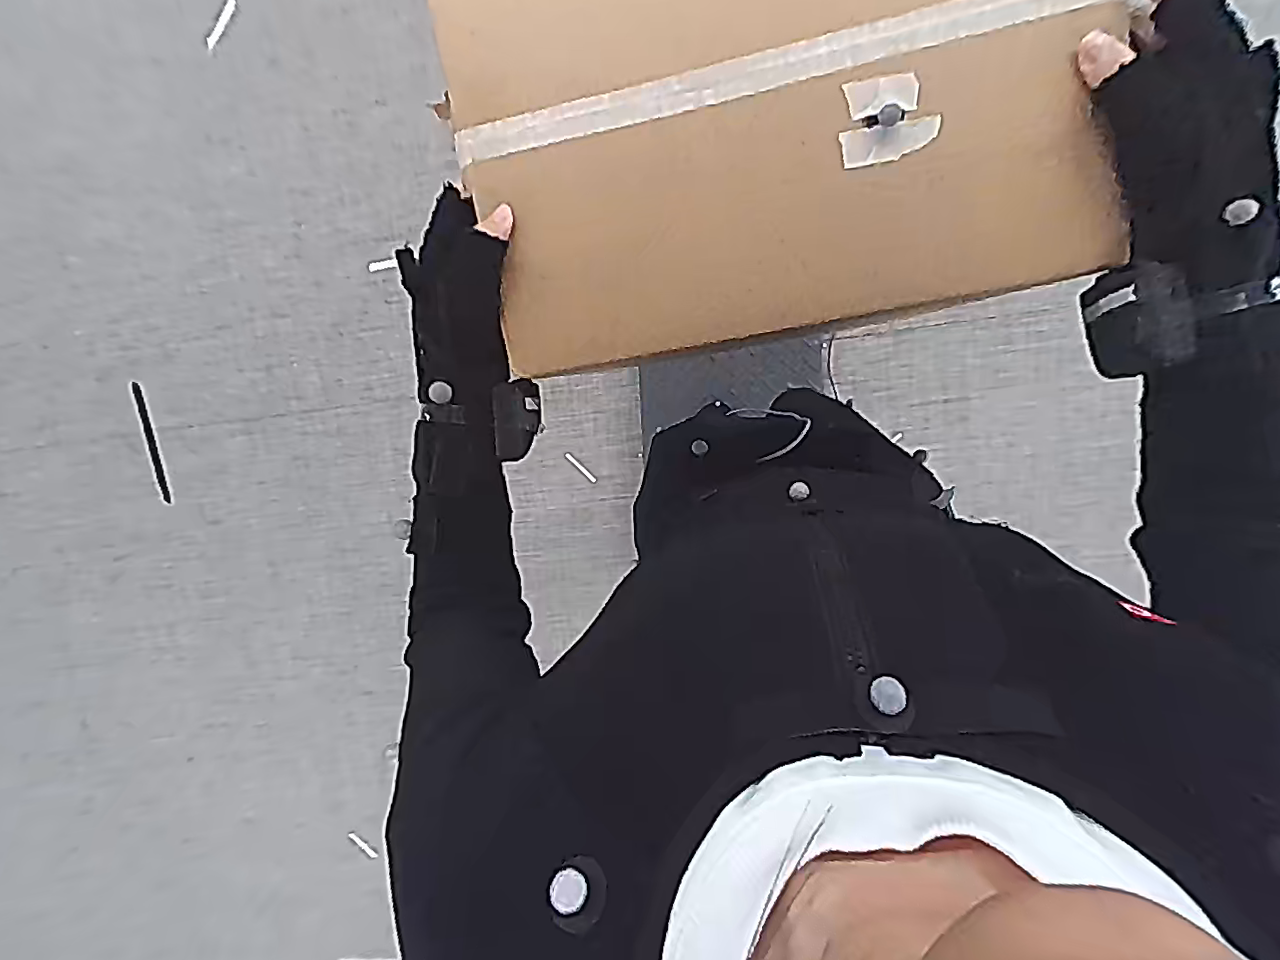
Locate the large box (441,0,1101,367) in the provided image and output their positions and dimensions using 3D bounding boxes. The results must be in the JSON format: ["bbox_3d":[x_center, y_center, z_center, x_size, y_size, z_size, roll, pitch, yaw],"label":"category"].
[{"bbox_3d":[0.091,-0.295,0.495,0.408,0.320,0.320,-9,101,7],"label":"large box"}]
